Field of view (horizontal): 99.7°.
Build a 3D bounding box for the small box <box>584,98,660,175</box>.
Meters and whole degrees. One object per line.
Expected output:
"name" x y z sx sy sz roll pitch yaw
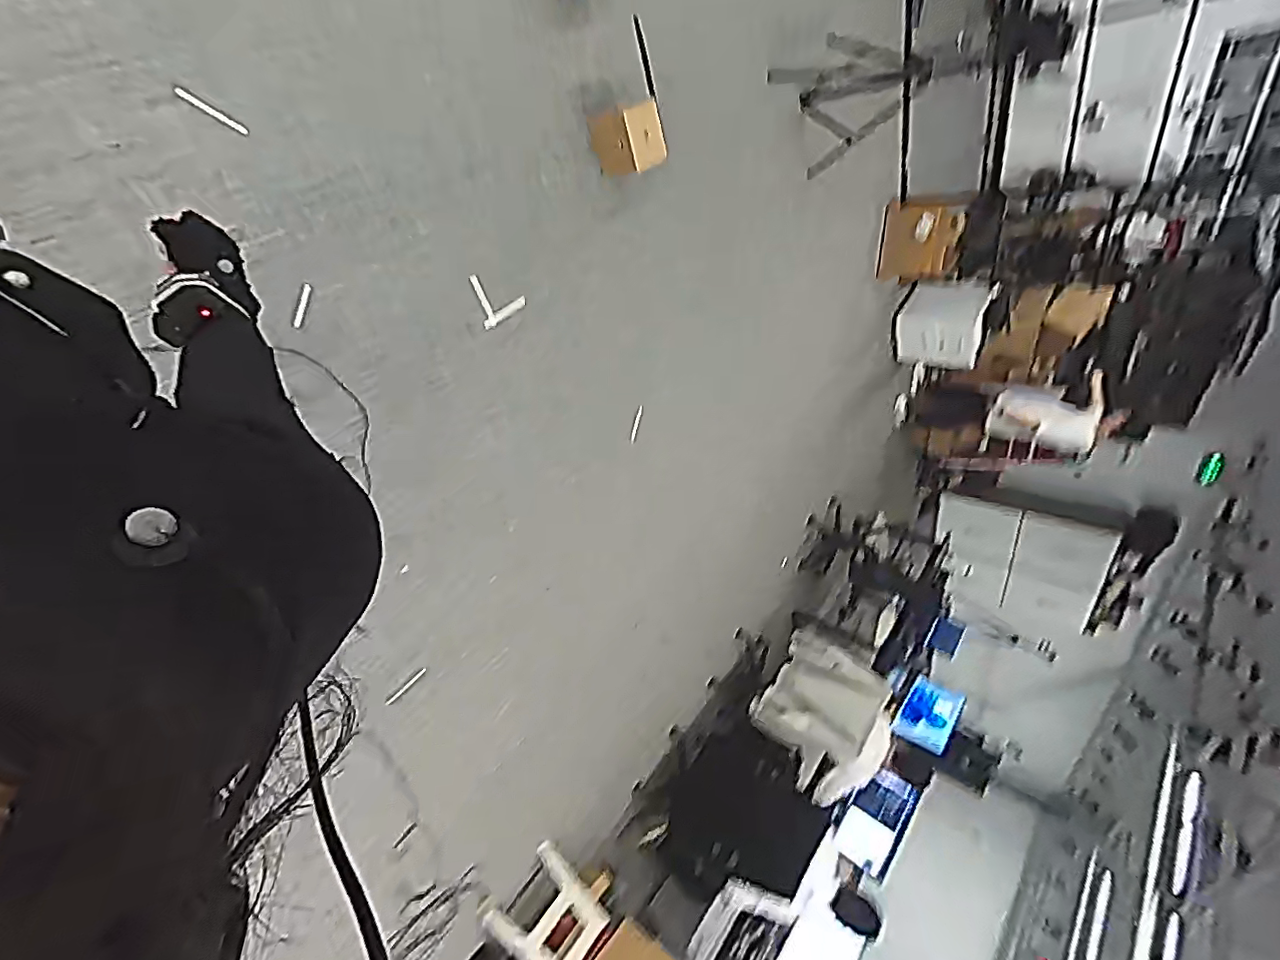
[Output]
"small box" -0.063 -1.156 1.827 0.168 0.176 0.179 -44 135 -28
